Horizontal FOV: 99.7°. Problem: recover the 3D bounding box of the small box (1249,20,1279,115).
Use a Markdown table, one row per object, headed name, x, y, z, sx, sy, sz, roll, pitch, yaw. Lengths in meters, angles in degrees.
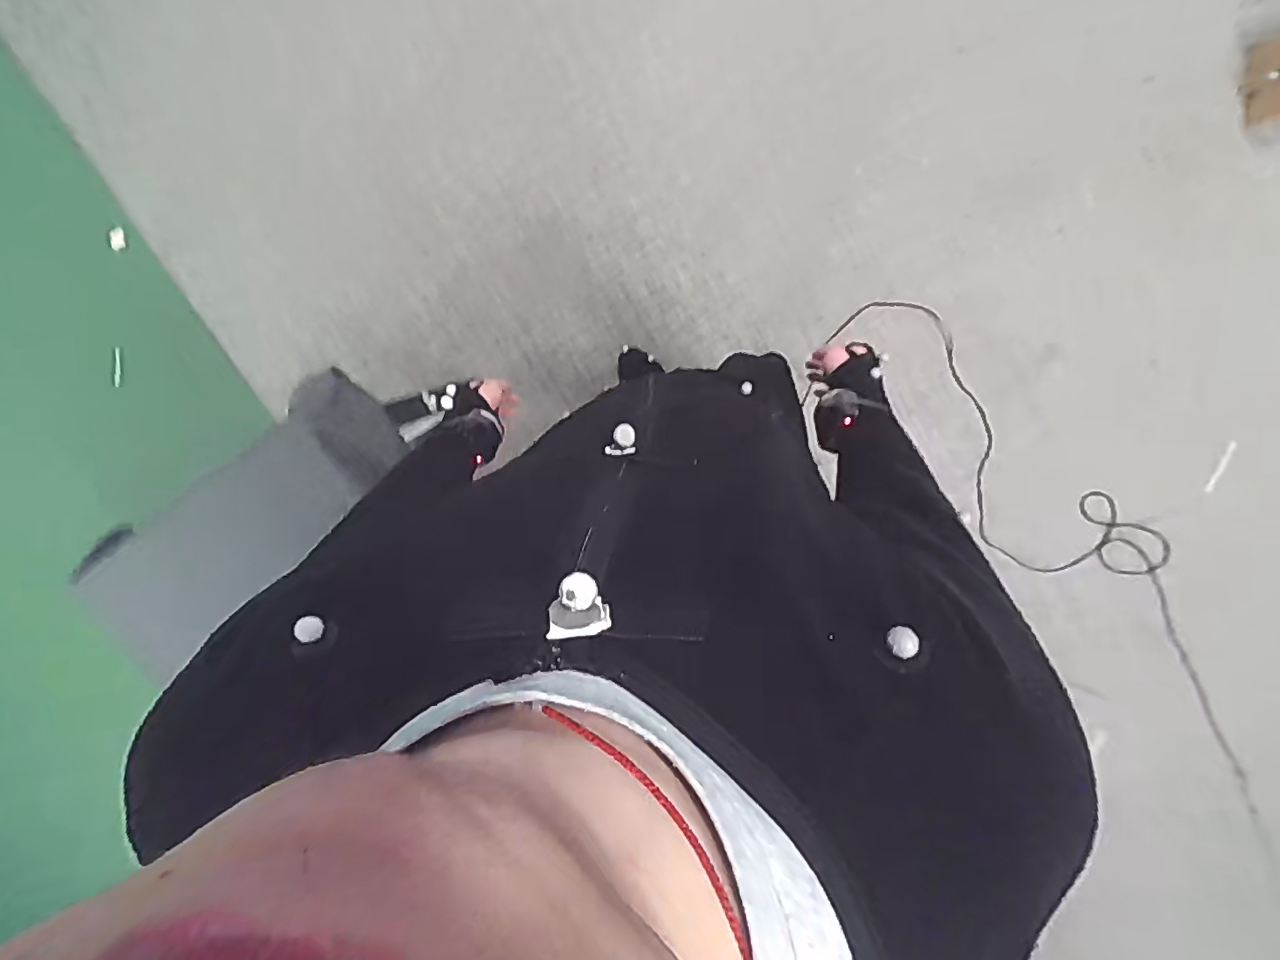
| name | x | y | z | sx | sy | sz | roll | pitch | yaw |
| --- | --- | --- | --- | --- | --- | --- | --- | --- | --- |
| small box | 1.391 | -0.869 | 1.081 | 0.179 | 0.176 | 0.168 | -11 | 104 | 10 |
